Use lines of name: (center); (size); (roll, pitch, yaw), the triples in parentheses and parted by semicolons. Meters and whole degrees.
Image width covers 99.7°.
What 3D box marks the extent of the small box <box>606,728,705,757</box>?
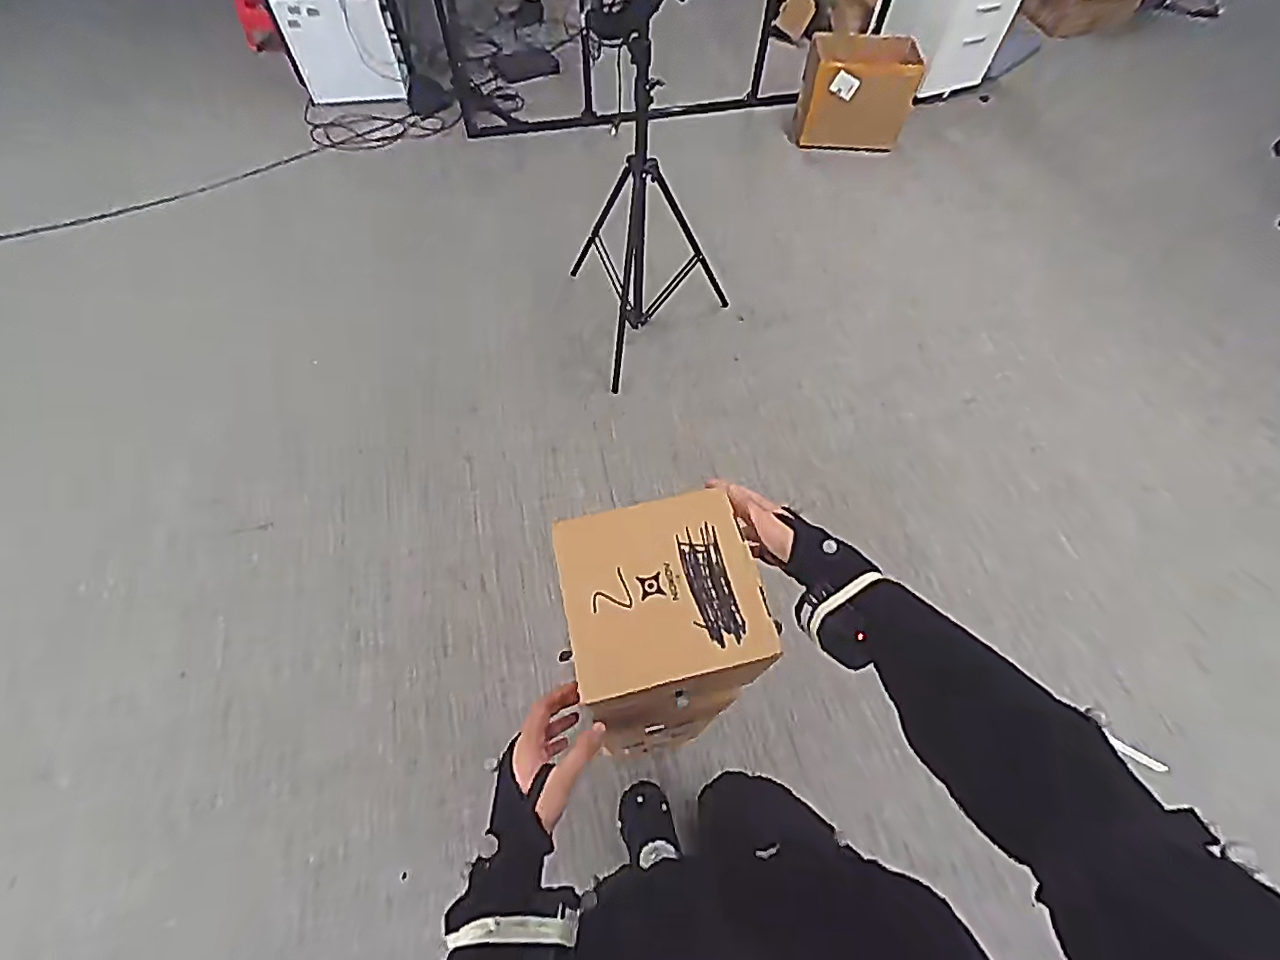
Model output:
small box: (0.011, 0.387, 0.970); (0.168, 0.176, 0.179); (-10, 62, -6)

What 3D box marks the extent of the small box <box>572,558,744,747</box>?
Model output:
small box: (0.014, 0.224, 0.688); (0.168, 0.176, 0.179); (-13, 63, -7)
